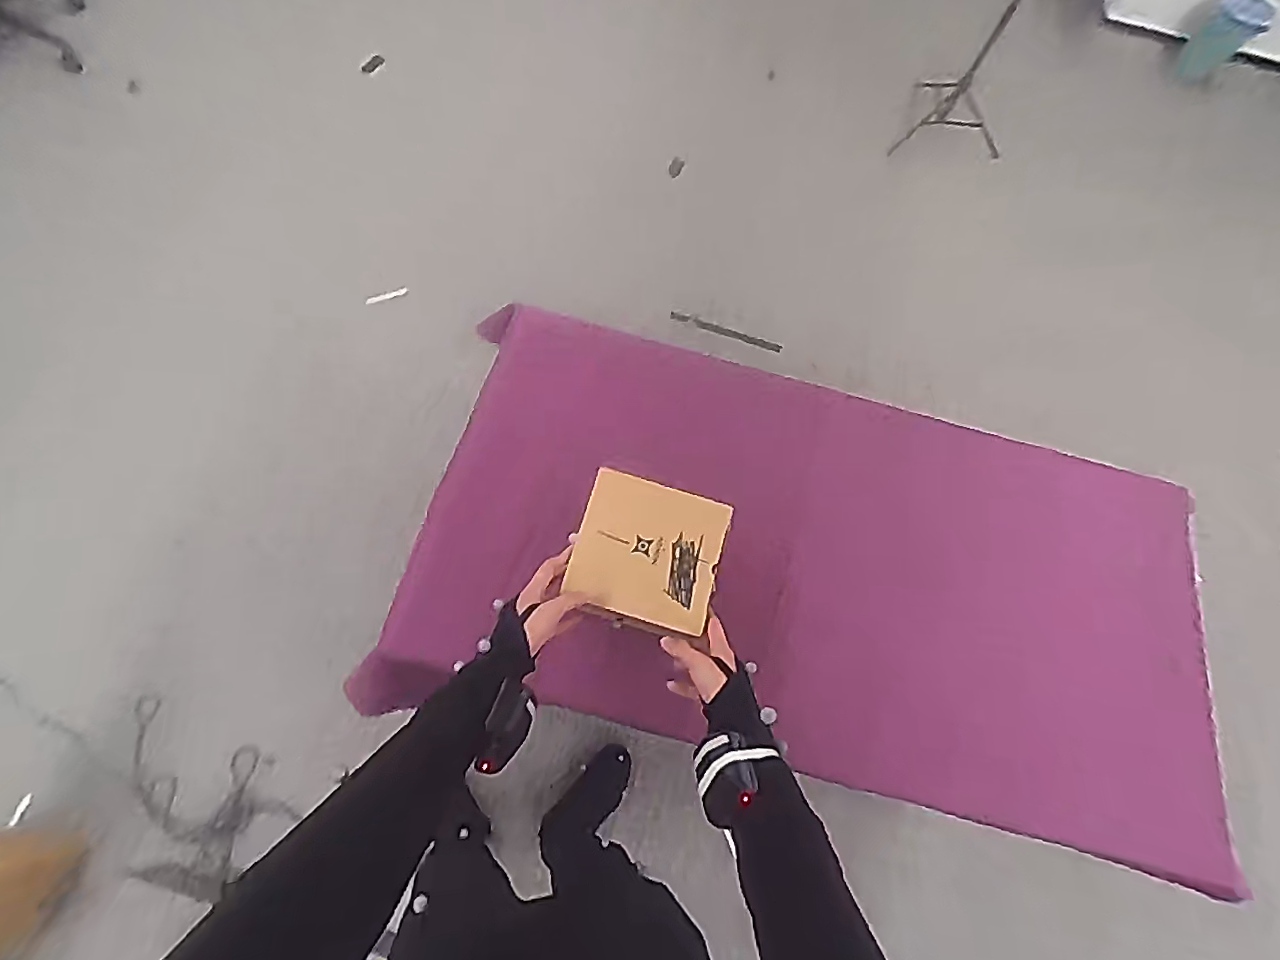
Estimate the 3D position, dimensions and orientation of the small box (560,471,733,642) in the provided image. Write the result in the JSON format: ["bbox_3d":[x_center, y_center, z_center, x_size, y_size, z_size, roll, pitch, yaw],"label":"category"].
[{"bbox_3d":[0.004,0.109,0.724,0.179,0.176,0.168,18,72,0],"label":"small box"}]
